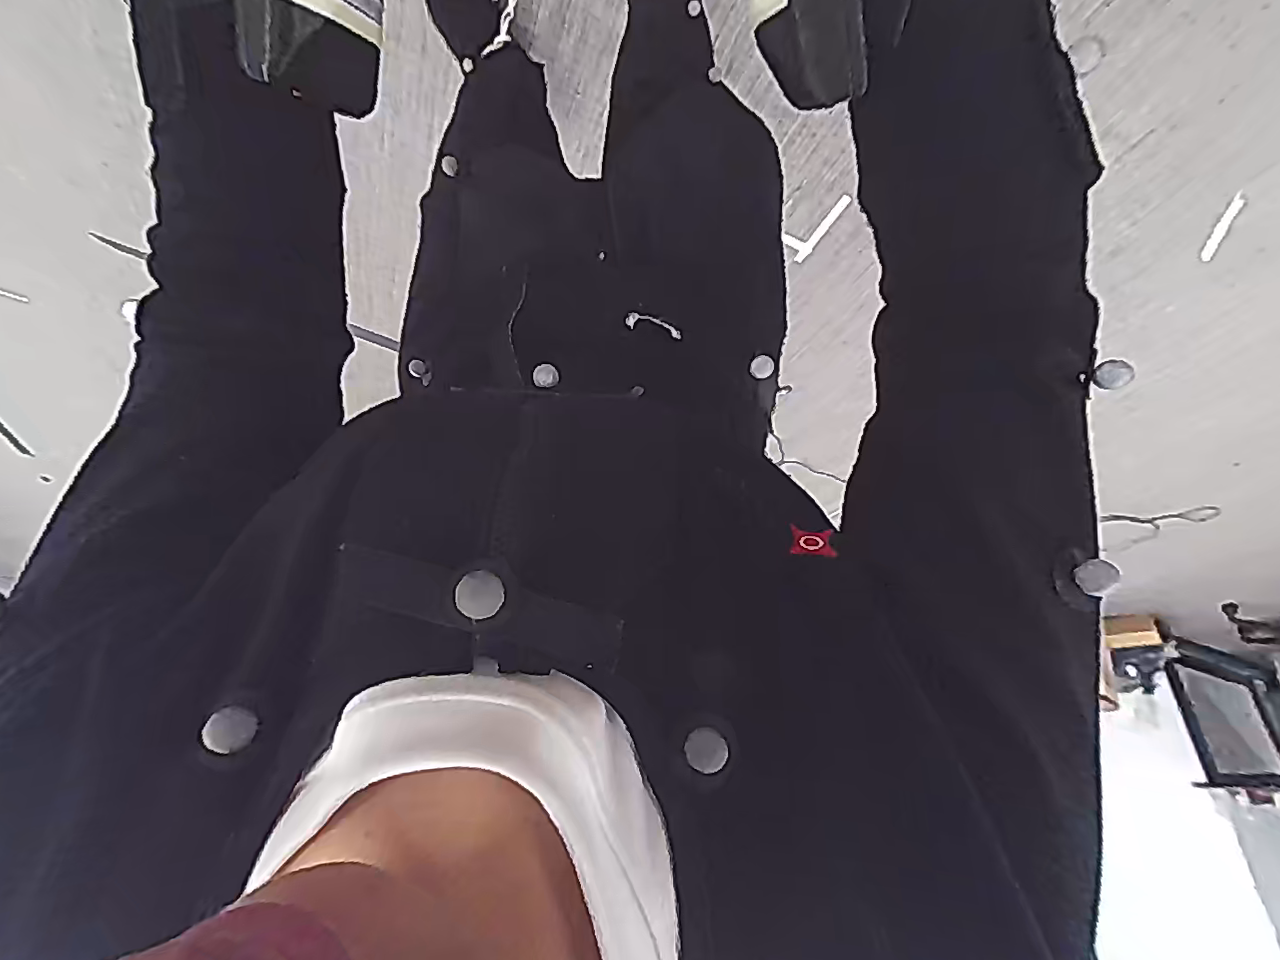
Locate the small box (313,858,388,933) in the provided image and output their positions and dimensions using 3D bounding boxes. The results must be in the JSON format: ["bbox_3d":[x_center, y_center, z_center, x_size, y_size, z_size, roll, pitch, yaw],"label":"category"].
[{"bbox_3d":[-0.908,1.303,1.701,0.168,0.176,0.179,18,146,-19],"label":"small box"}]

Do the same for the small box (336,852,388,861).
[{"bbox_3d":[-0.990,1.399,1.875,0.168,0.176,0.179,18,147,-19],"label":"small box"}]
